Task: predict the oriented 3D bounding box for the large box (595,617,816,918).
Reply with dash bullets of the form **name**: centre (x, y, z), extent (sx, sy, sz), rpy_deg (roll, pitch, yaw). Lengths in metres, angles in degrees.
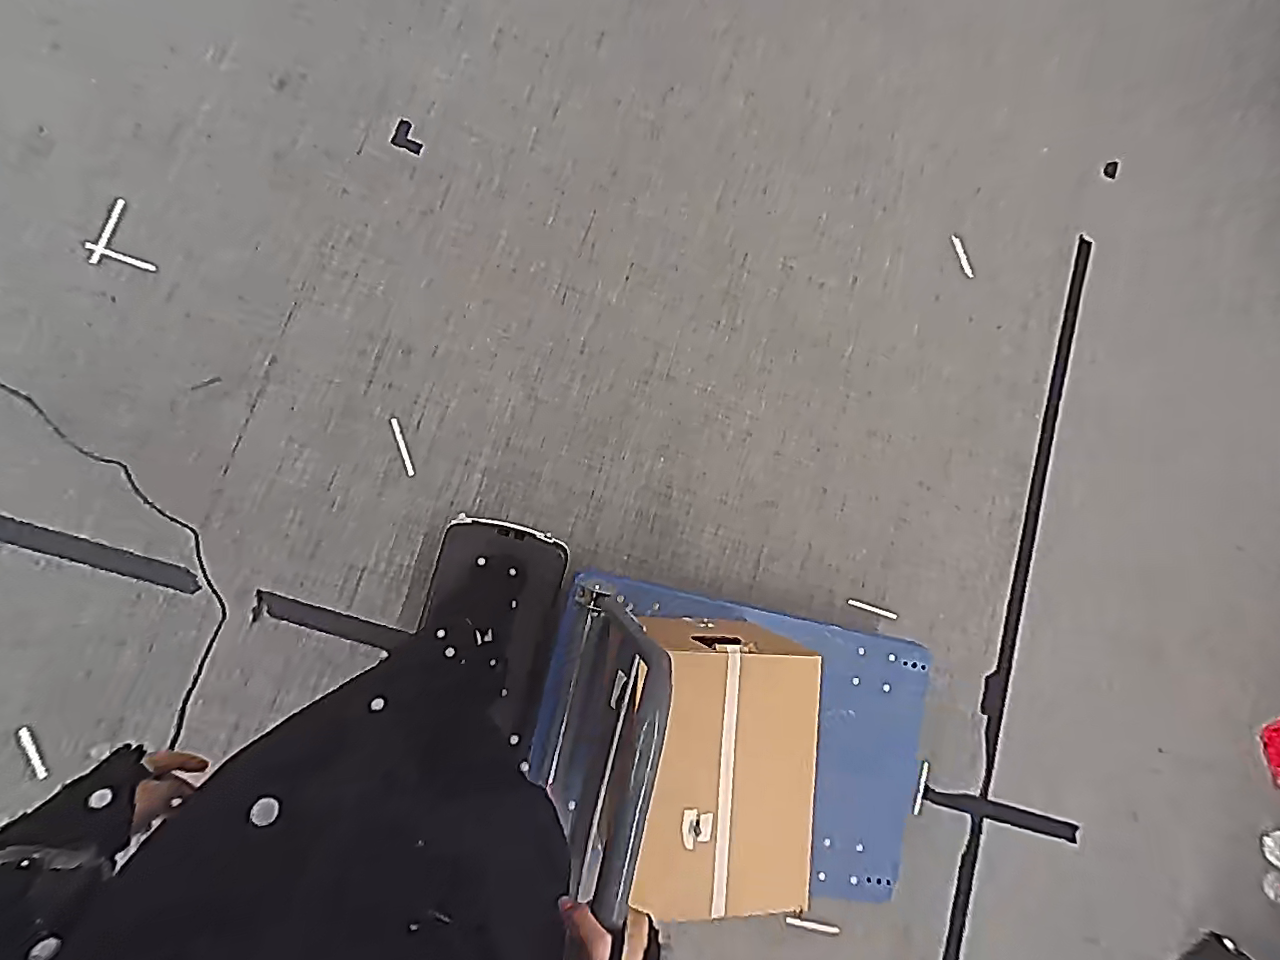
- **large box**: centre (0.100, 0.485, 1.004), extent (0.320, 0.320, 0.408), rpy_deg (6, 85, -11)
